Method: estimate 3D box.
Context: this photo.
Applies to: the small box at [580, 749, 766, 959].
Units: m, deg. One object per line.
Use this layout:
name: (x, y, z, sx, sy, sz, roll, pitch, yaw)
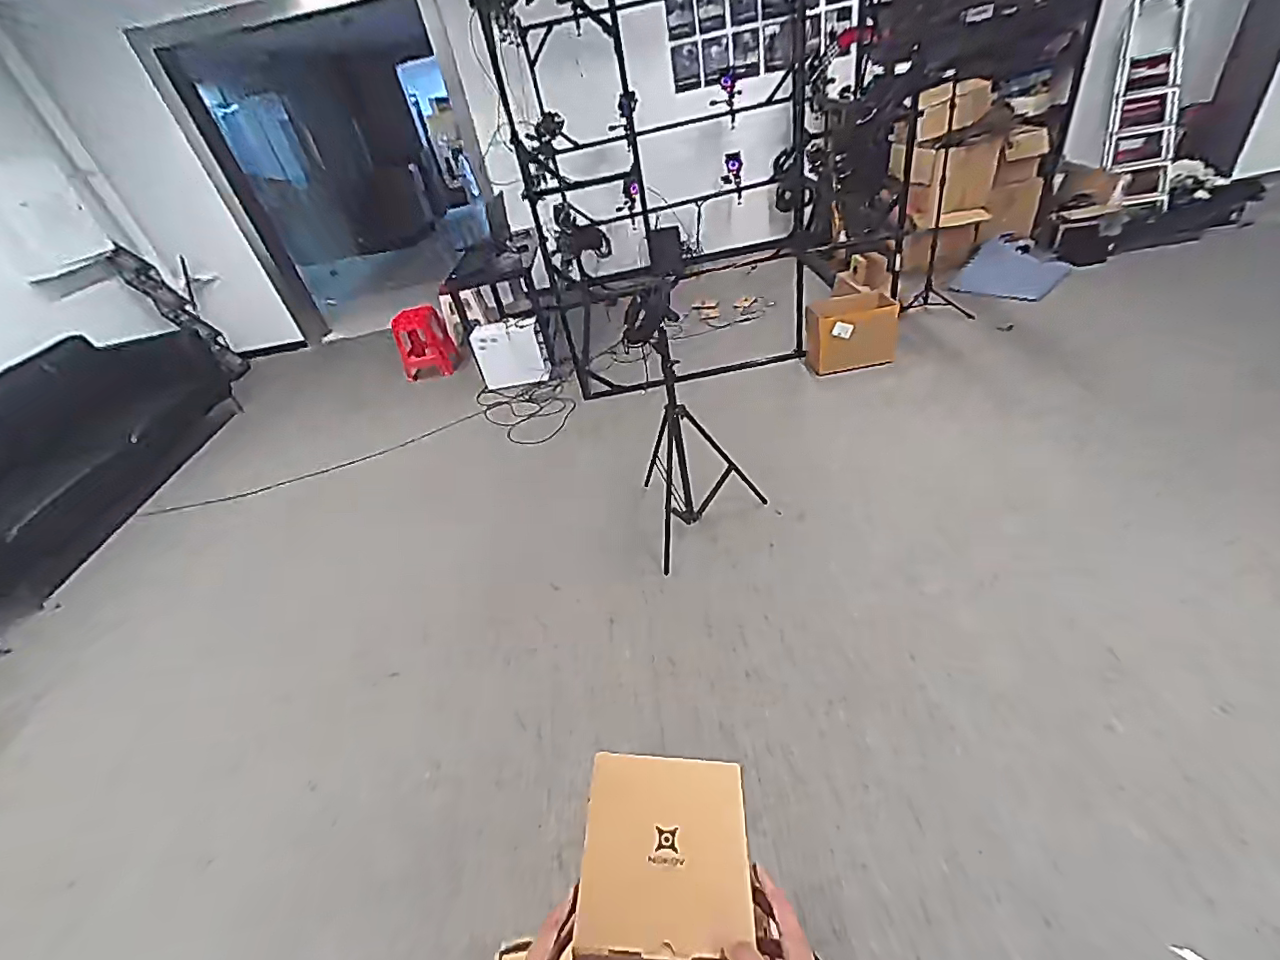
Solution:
small box: (0.027, 0.423, 0.580, 0.168, 0.176, 0.179, 5, 36, 0)
